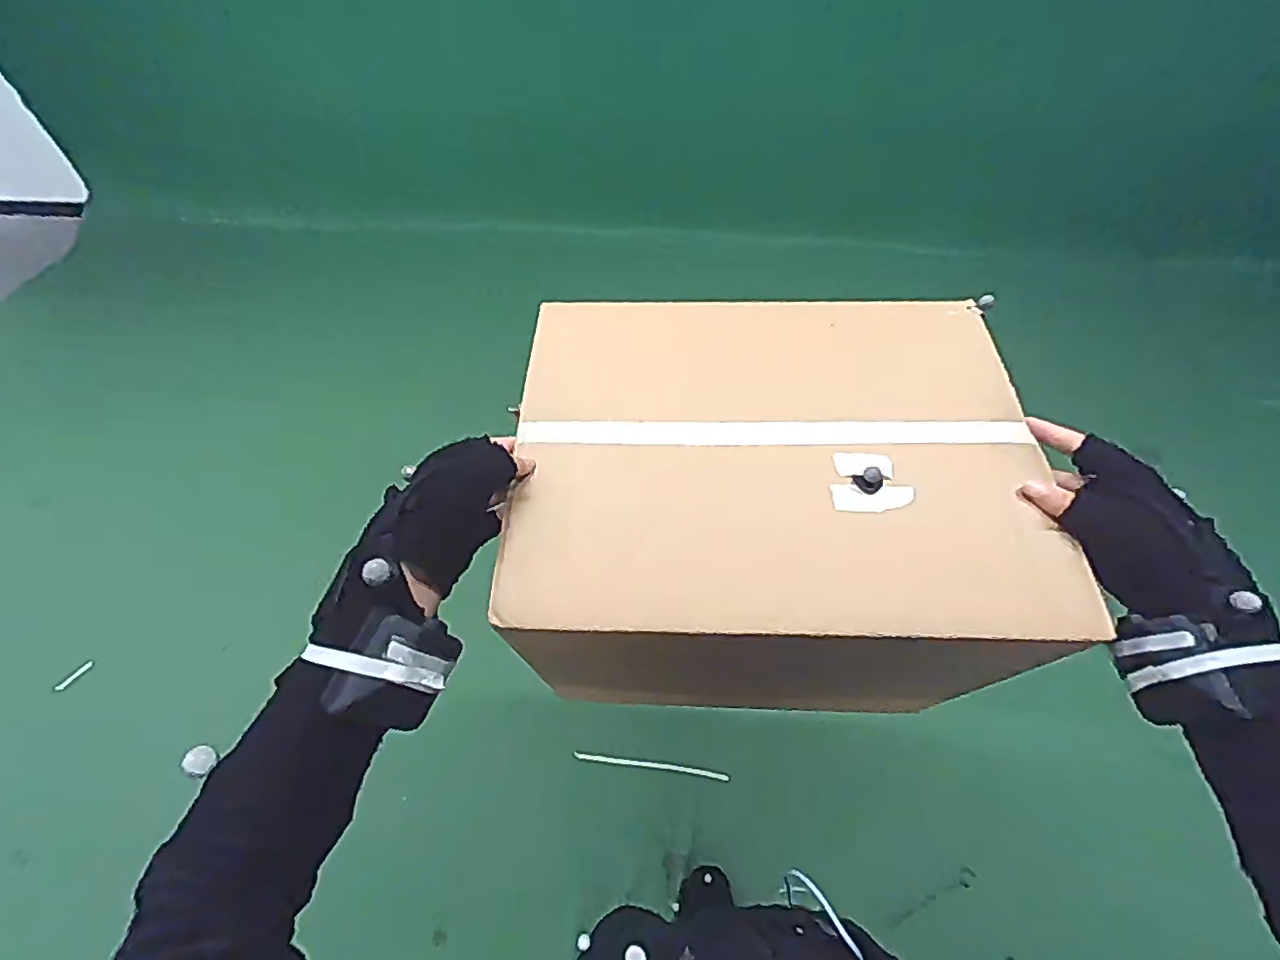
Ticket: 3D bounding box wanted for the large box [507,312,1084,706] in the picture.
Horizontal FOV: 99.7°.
[{"bbox_3d":[0.109,0.050,0.573,0.408,0.320,0.320,0,60,3],"label":"large box"}]
